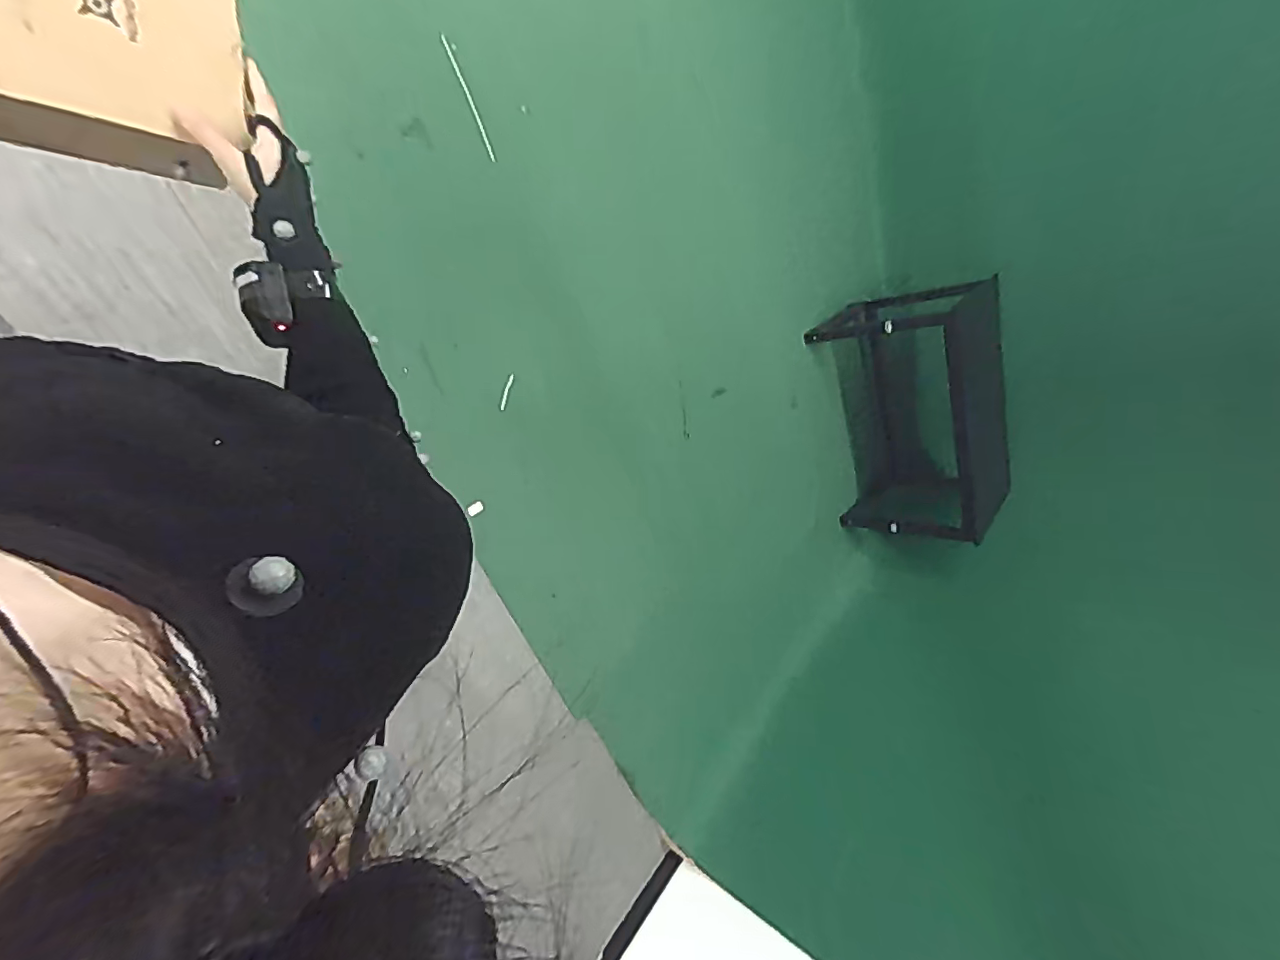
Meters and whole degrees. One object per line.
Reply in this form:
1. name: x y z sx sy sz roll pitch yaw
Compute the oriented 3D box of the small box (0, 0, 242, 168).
1. small box: -0.458 -0.383 0.451 0.179 0.176 0.168 -6 105 -43
